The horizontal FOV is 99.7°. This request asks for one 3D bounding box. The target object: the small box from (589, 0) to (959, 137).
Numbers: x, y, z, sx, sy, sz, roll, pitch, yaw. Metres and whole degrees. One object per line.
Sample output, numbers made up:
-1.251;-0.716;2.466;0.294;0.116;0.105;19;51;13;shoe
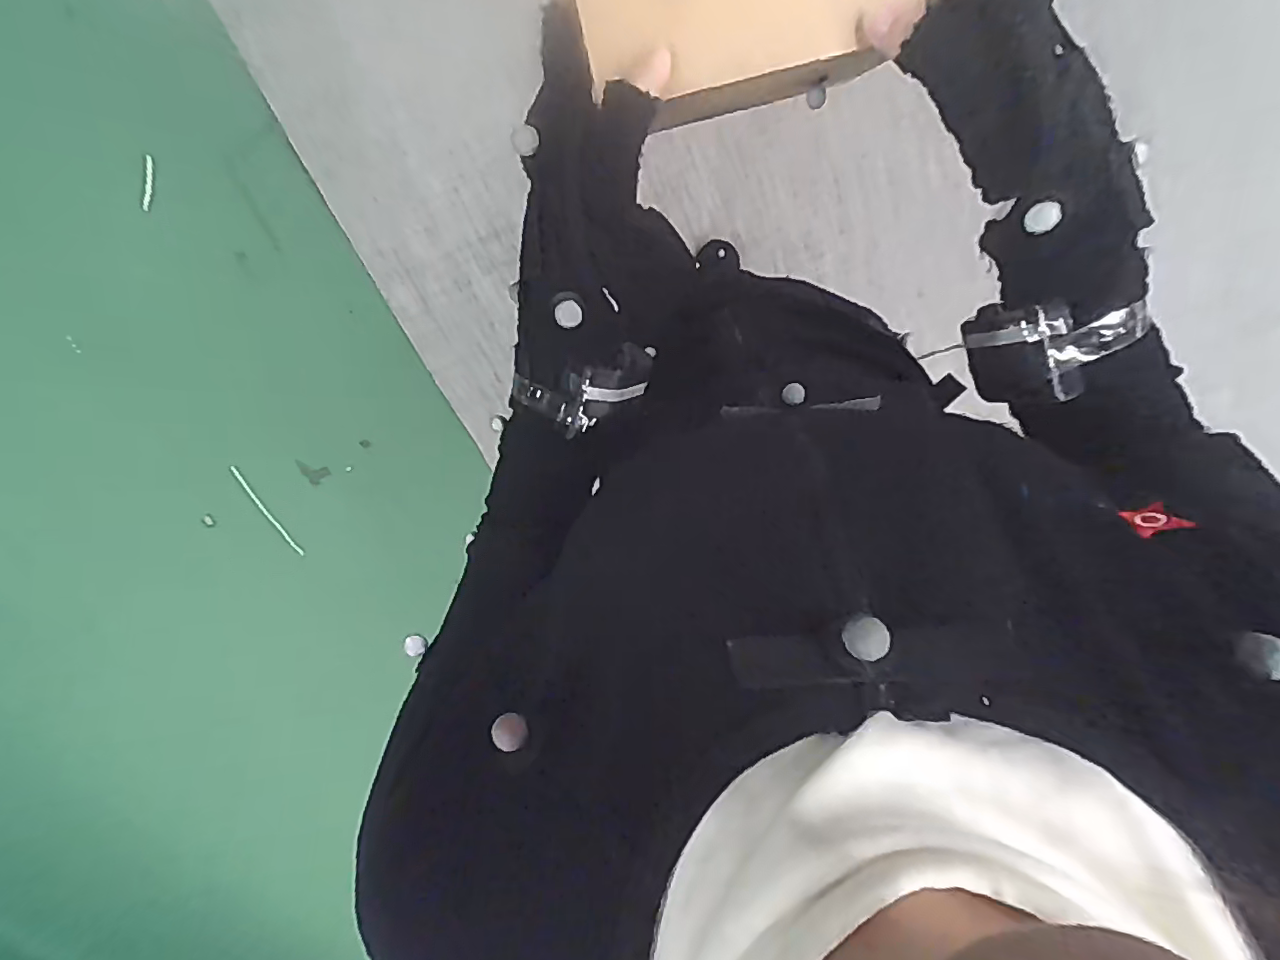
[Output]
0.051;-0.315;0.302;0.179;0.176;0.168;-14;117;9;small box
